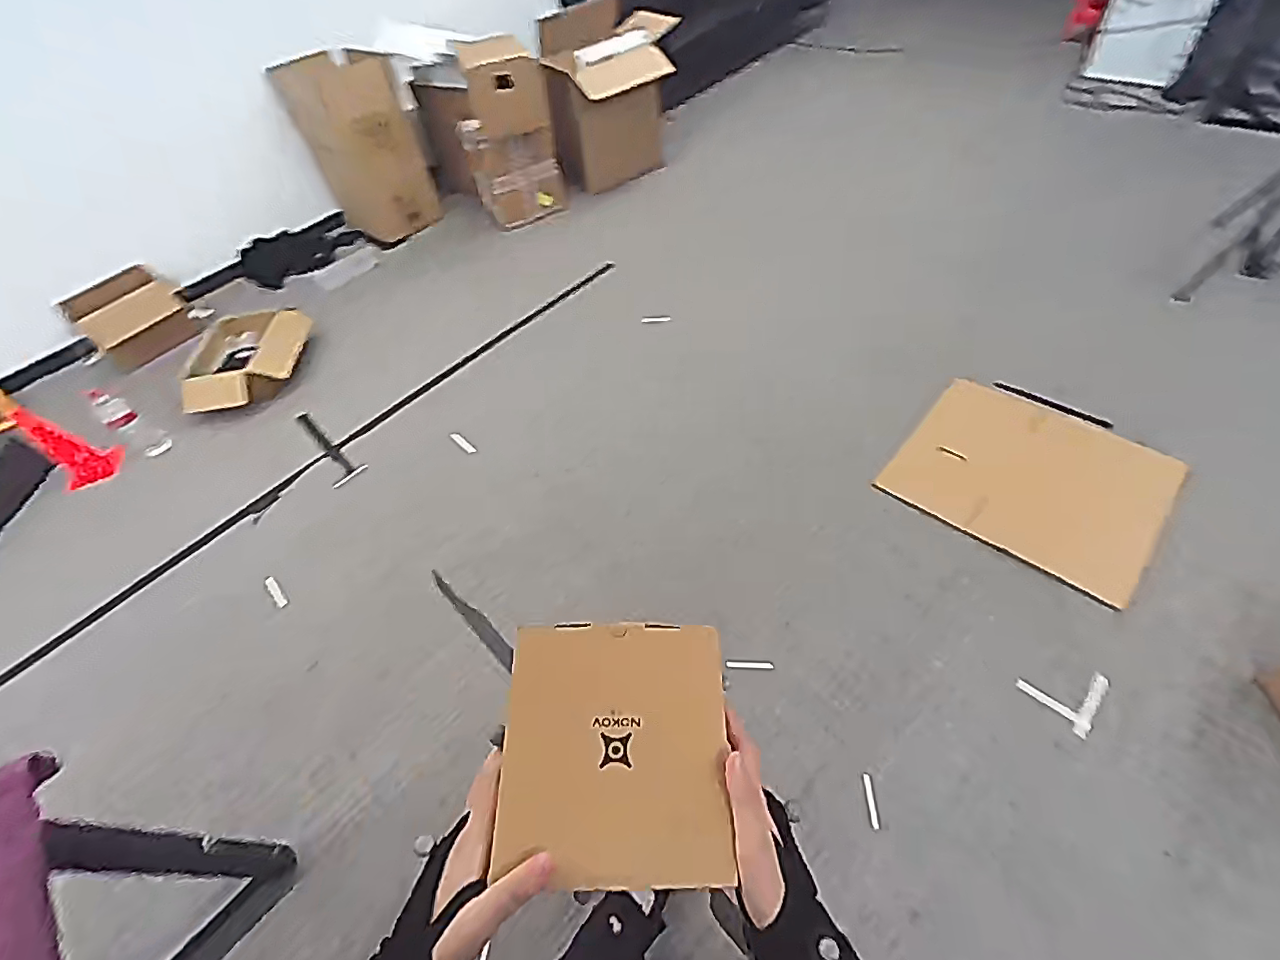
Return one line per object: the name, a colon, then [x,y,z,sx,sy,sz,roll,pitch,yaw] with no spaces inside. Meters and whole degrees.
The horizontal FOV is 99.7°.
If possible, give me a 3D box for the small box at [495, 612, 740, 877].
small box: [-0.017,0.225,0.465,0.168,0.176,0.179,2,58,-3]
